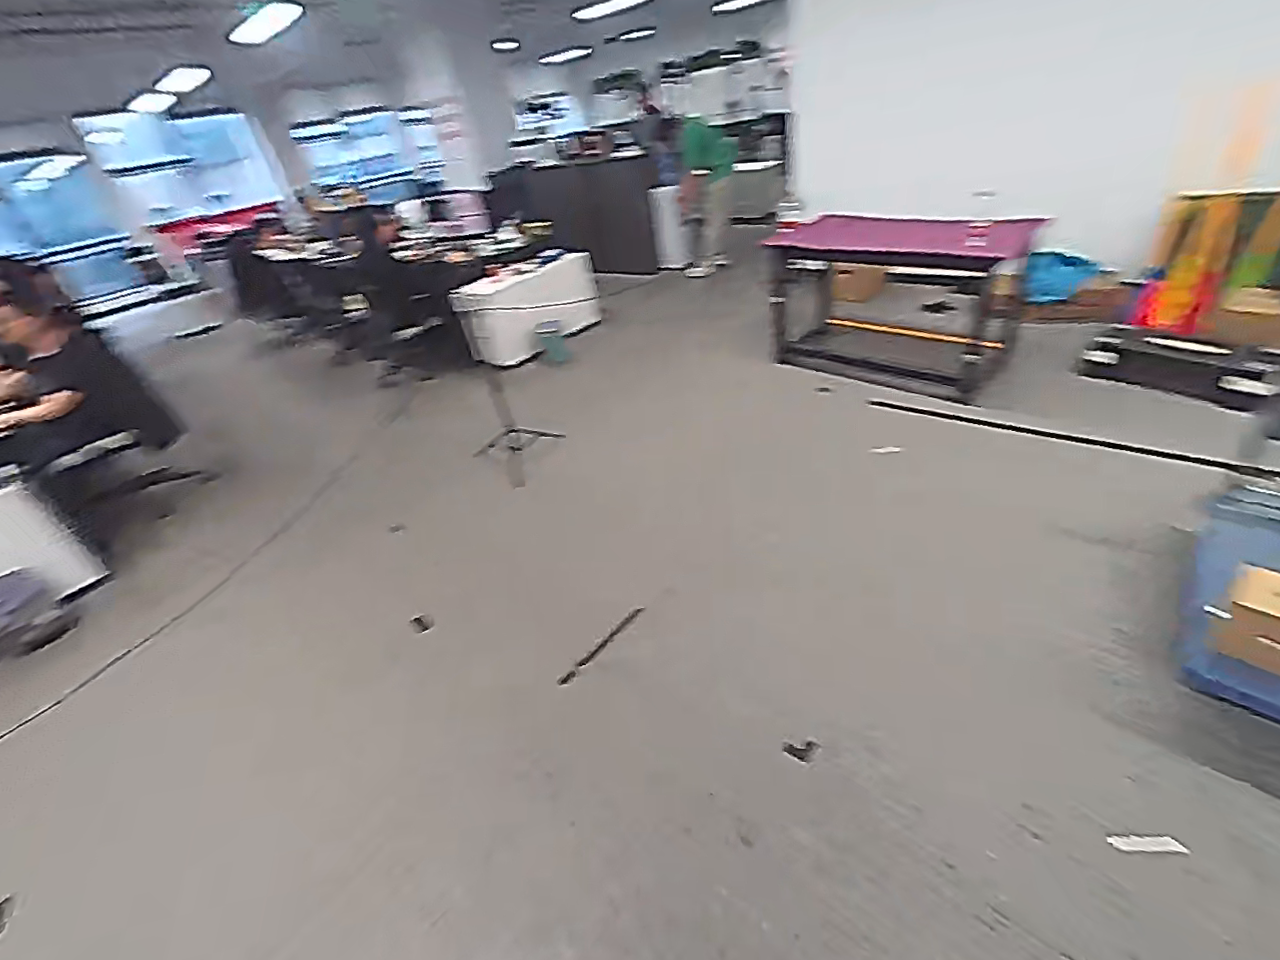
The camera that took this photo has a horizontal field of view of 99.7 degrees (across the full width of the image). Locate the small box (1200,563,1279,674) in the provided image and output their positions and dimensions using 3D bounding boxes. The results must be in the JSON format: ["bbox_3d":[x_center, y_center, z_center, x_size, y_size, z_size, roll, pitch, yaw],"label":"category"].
[{"bbox_3d":[1.521,0.340,1.309,0.168,0.176,0.179,-35,40,-31],"label":"small box"}]
